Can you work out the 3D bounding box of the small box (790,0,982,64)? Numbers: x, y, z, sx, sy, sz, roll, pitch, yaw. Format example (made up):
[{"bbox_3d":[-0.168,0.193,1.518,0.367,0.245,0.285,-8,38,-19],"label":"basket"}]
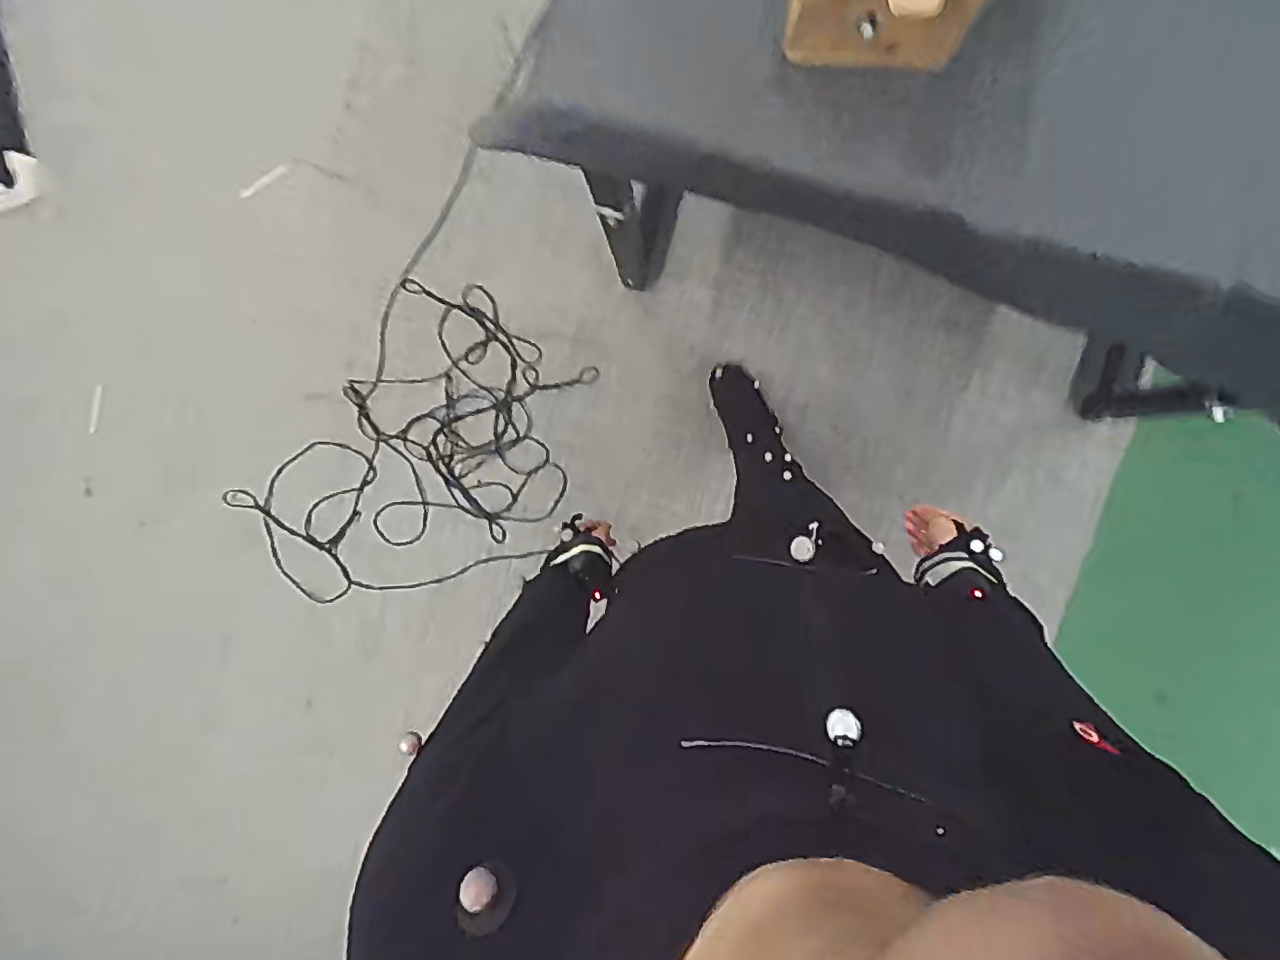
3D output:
[{"bbox_3d":[0.240,-0.528,0.487,0.168,0.176,0.179,5,94,3],"label":"small box"}]
